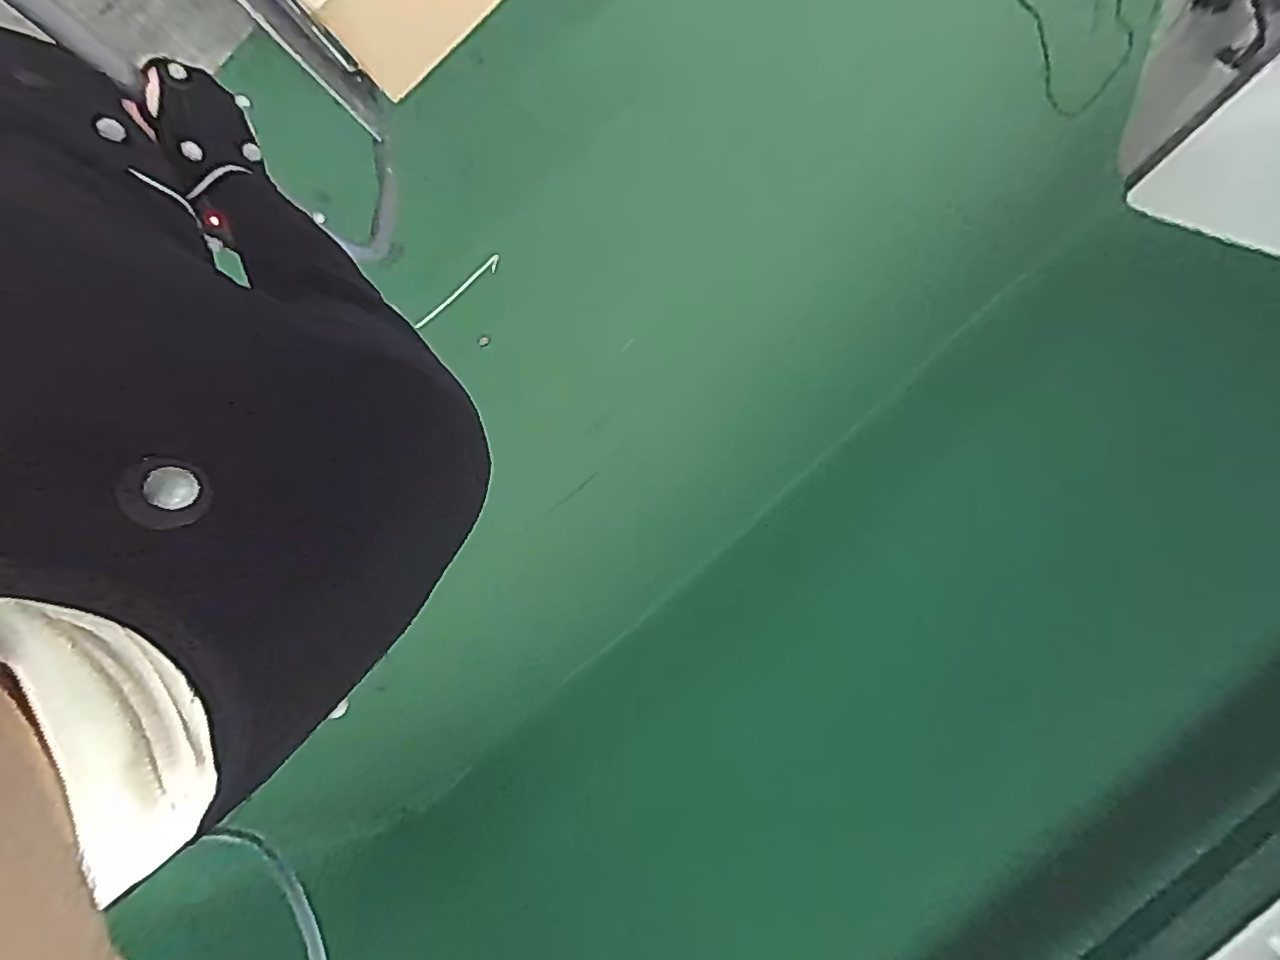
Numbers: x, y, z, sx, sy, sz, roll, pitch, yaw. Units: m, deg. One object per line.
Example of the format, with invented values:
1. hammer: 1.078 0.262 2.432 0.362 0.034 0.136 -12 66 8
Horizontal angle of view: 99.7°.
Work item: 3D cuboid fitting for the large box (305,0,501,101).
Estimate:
1. large box: -0.374 -0.896 0.816 0.408 0.320 0.320 -36 145 10
